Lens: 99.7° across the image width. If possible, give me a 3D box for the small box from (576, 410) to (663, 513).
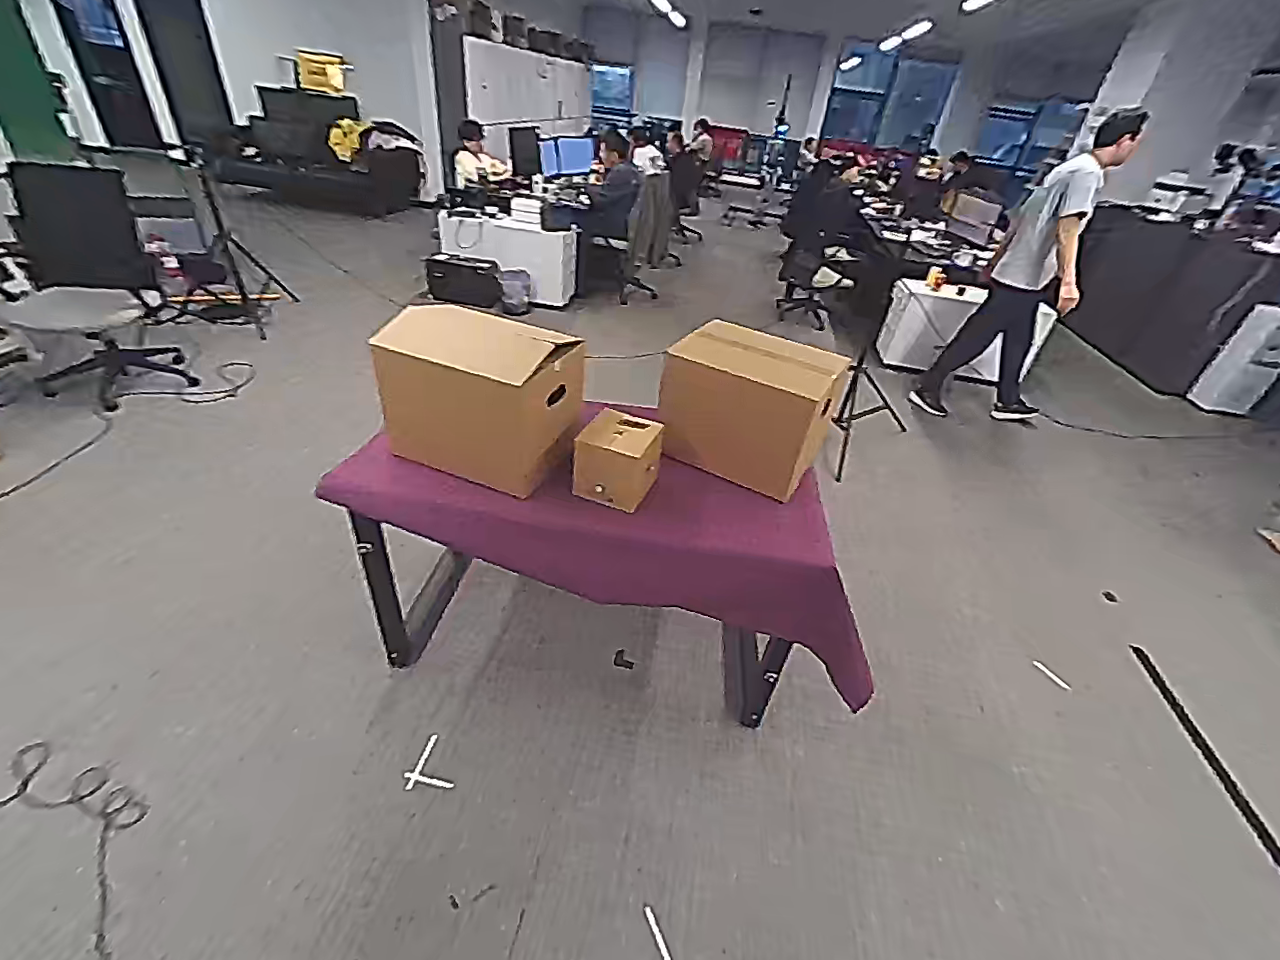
[{"bbox_3d":[-0.055,-0.047,1.350,0.168,0.176,0.179,17,37,14],"label":"small box"}]
